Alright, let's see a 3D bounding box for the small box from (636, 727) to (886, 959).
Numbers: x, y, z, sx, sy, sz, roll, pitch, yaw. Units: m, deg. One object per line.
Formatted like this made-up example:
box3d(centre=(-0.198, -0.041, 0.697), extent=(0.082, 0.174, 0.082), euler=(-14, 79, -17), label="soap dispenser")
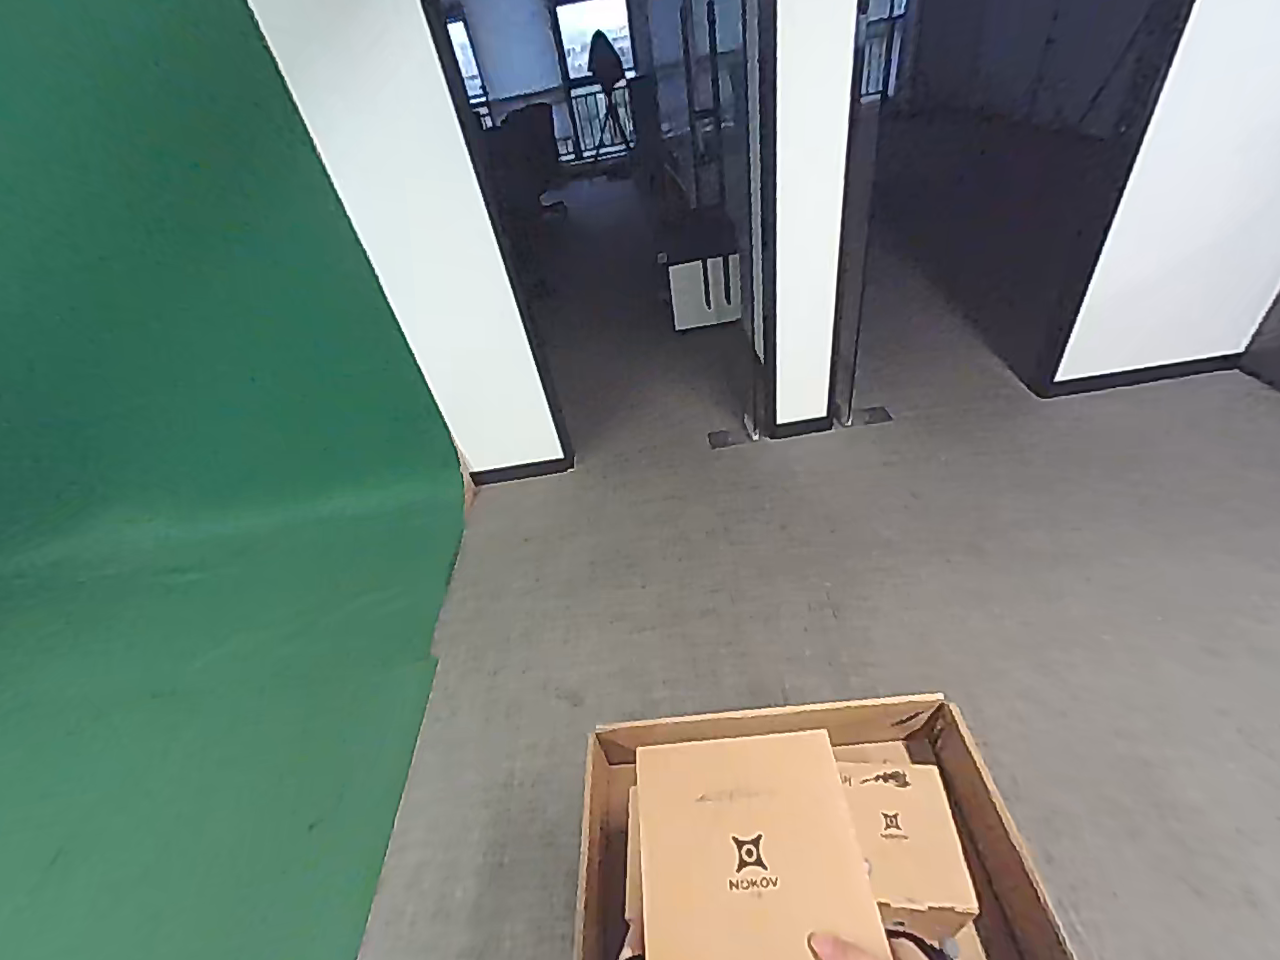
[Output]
box3d(centre=(0.090, 0.335, 0.460), extent=(0.168, 0.176, 0.179), euler=(-6, 45, 3), label="small box")
